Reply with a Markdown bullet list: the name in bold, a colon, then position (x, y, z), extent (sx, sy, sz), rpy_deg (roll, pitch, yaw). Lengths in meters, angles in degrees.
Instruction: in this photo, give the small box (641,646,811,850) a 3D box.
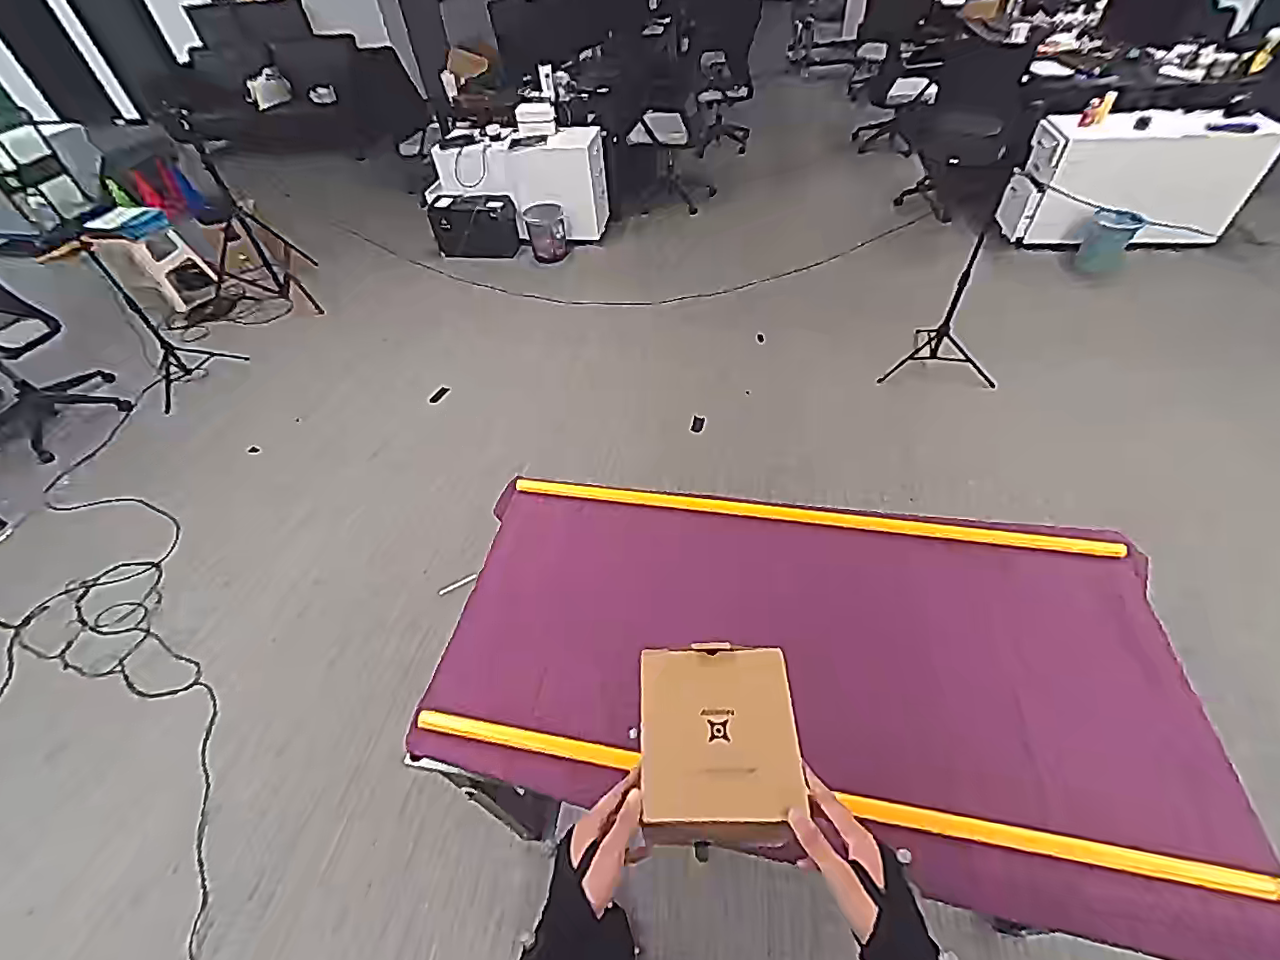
- **small box**: position (0.085, 0.312, 0.632), extent (0.168, 0.176, 0.179), rpy_deg (-1, 48, 2)
